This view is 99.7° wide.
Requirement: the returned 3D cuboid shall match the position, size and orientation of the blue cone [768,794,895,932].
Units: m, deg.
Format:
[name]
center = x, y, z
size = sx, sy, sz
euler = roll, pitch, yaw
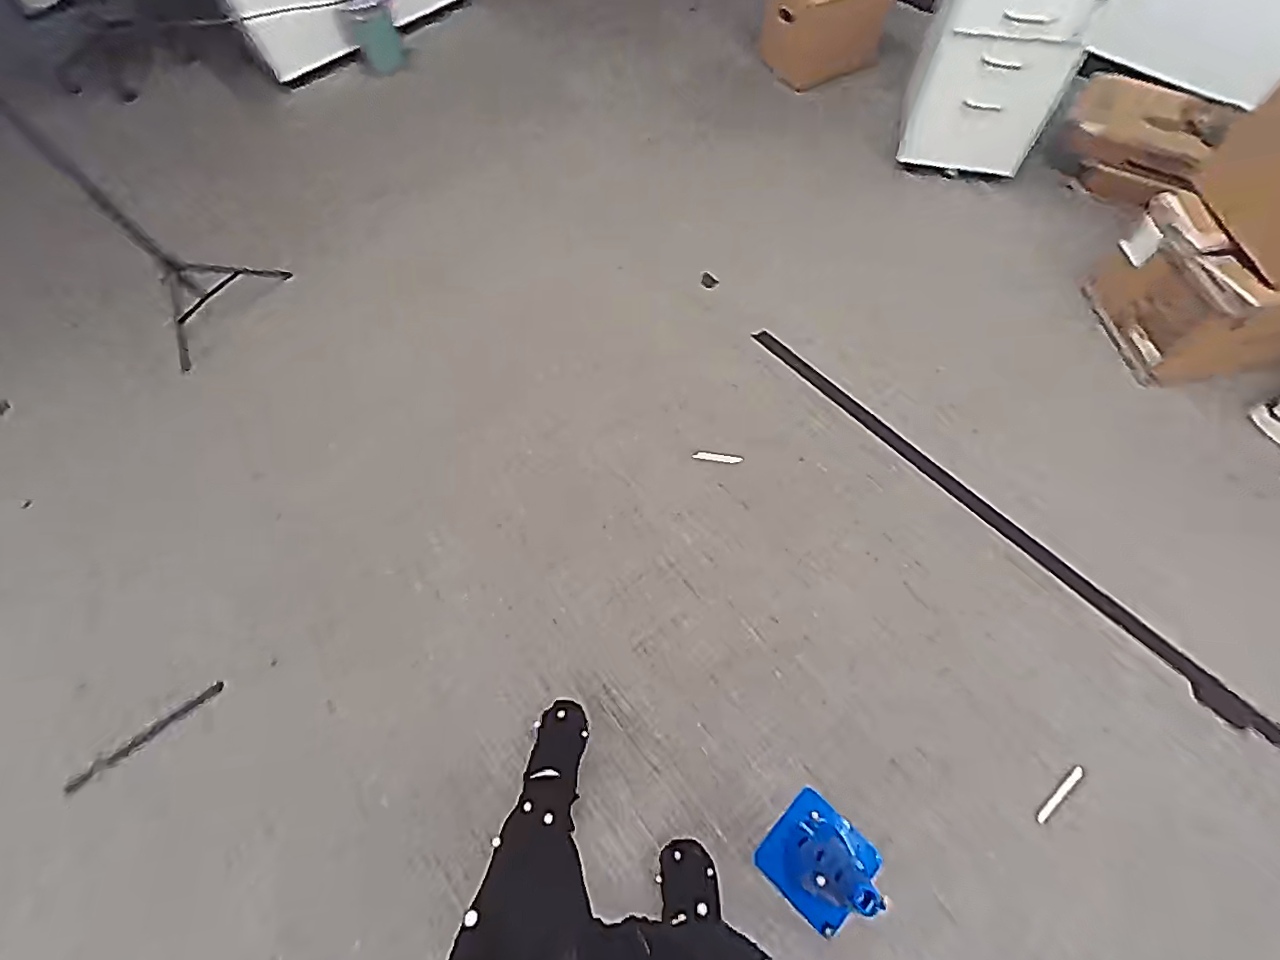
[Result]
[blue cone]
center = 0.372, 0.721, 0.985
size = 0.193, 0.380, 0.192
euler = -42, 68, -15
